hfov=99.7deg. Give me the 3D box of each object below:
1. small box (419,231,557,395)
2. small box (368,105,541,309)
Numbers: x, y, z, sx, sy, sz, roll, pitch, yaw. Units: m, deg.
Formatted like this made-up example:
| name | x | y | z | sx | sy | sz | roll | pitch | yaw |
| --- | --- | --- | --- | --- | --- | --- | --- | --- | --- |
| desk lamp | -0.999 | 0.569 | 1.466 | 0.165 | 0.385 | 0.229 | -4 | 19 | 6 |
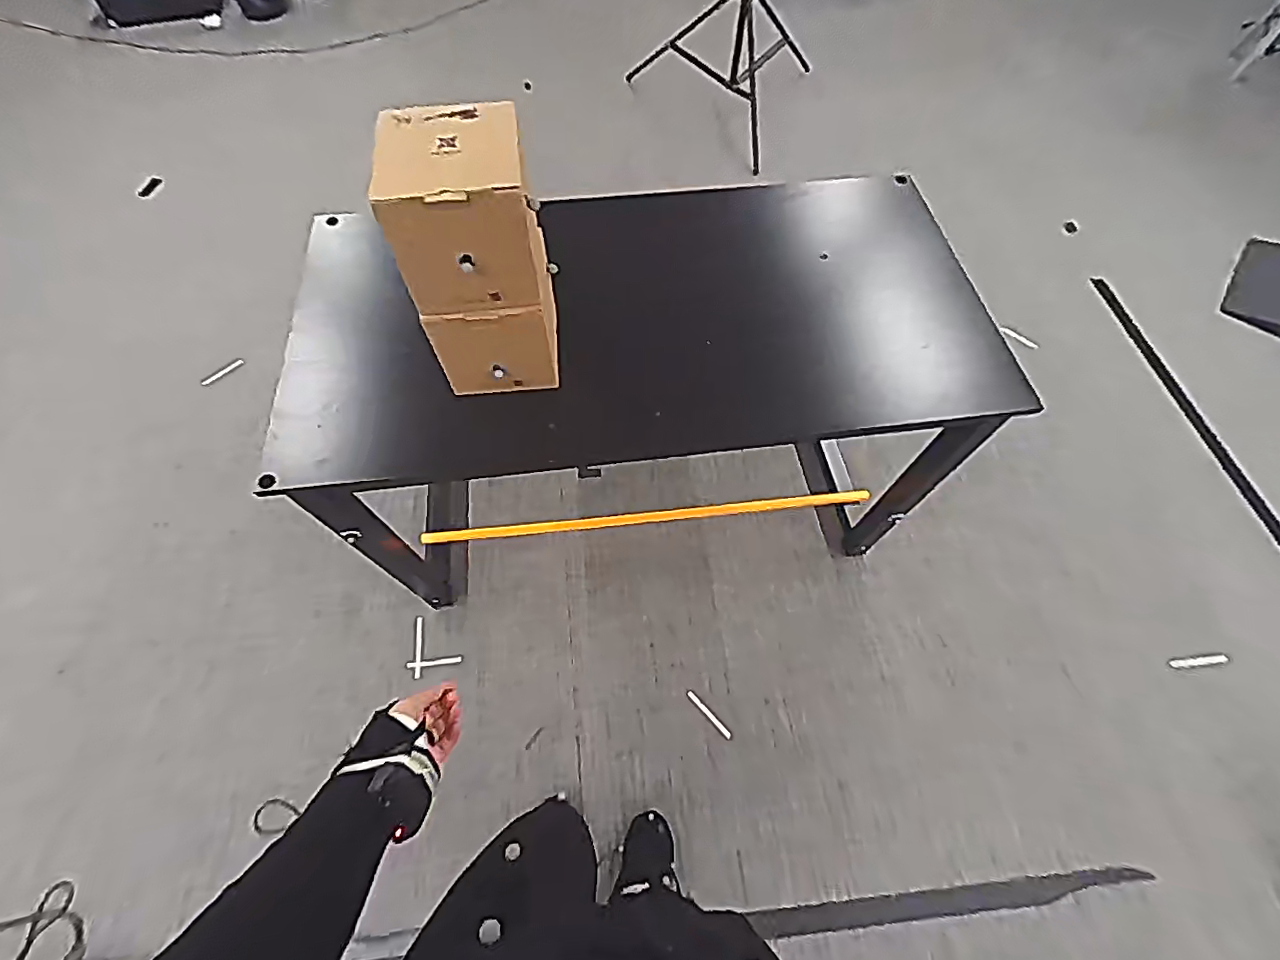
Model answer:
| name | x | y | z | sx | sy | sz | roll | pitch | yaw |
| --- | --- | --- | --- | --- | --- | --- | --- | --- | --- |
| small box | -0.222 | -0.253 | 0.832 | 0.168 | 0.176 | 0.179 | -5 | 63 | -3 |
| small box | -0.224 | -0.337 | 0.691 | 0.168 | 0.176 | 0.179 | -7 | 63 | -5 |
